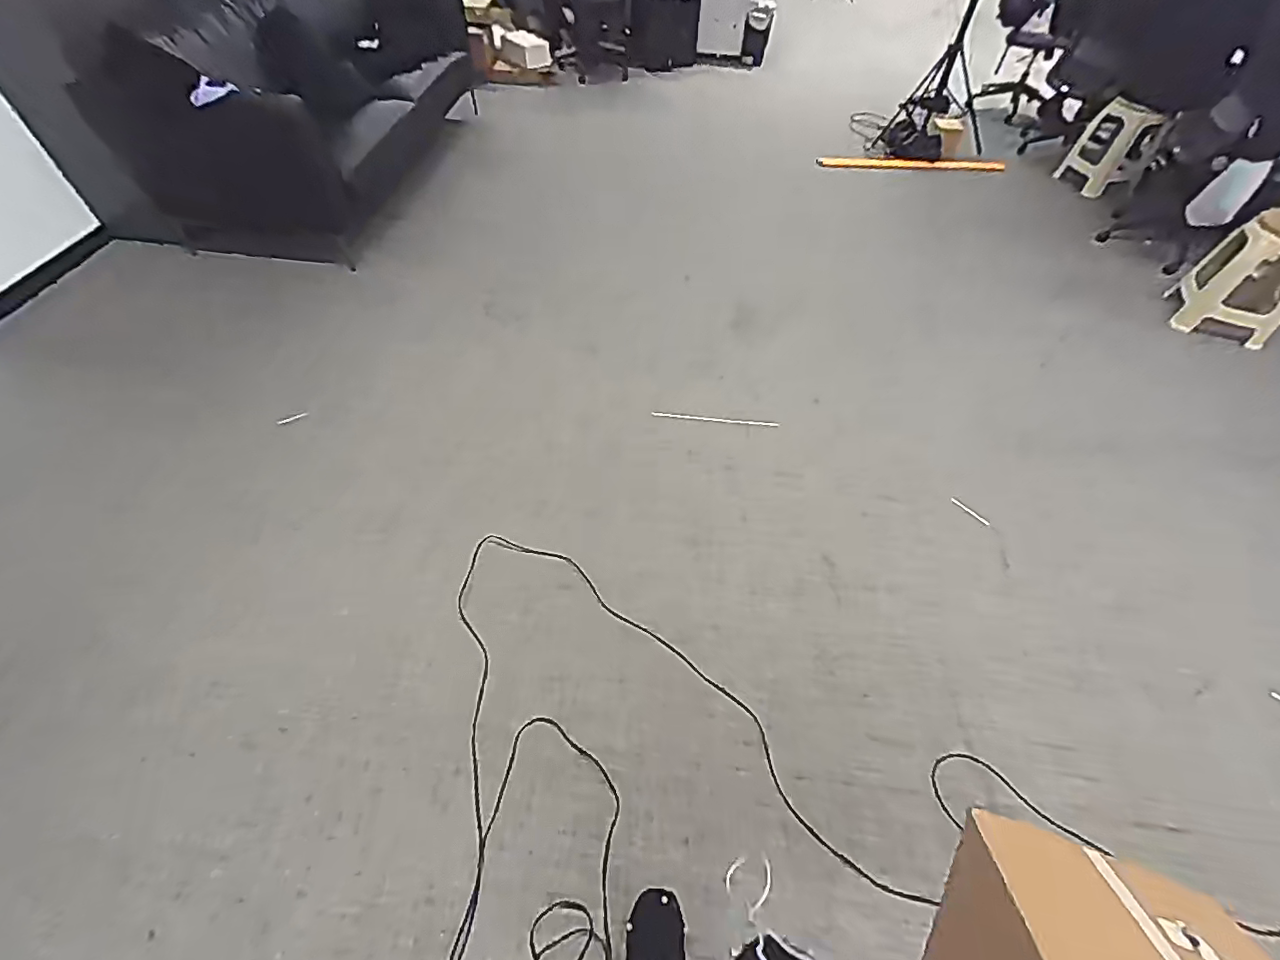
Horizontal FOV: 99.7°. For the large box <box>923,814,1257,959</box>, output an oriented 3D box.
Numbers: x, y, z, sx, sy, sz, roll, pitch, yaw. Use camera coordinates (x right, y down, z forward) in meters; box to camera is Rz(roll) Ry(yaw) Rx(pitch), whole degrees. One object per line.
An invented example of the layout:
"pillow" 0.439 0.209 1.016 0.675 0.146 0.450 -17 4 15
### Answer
"large box" 0.552 0.699 0.614 0.320 0.408 0.320 16 95 16
